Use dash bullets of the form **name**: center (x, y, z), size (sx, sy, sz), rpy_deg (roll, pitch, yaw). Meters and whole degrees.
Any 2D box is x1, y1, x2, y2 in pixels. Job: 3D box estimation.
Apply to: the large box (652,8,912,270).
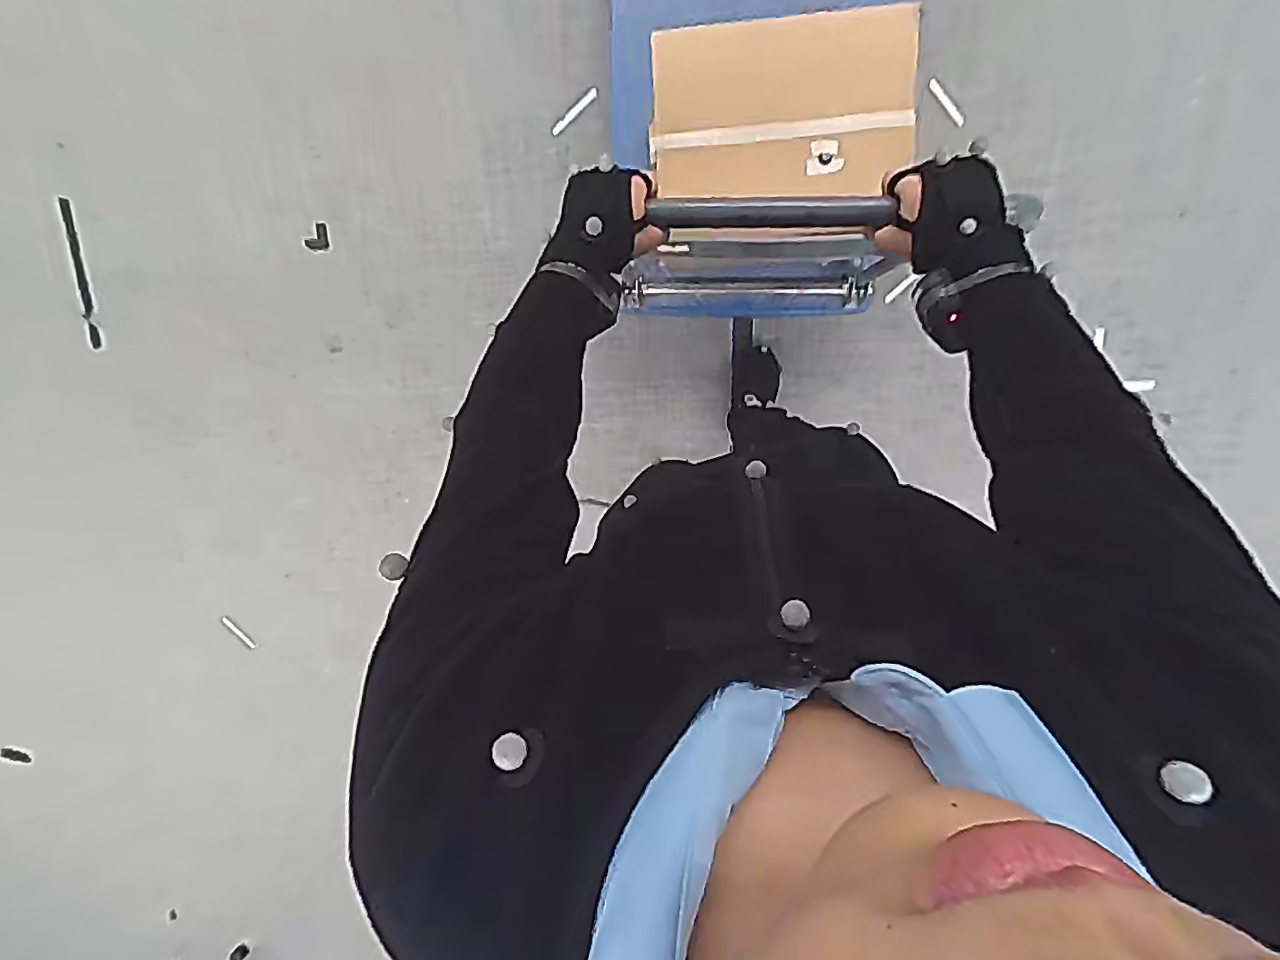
- **large box**: center (0.238, -0.595, 1.018), size (0.408, 0.320, 0.320), rpy_deg (-2, 104, 5)
